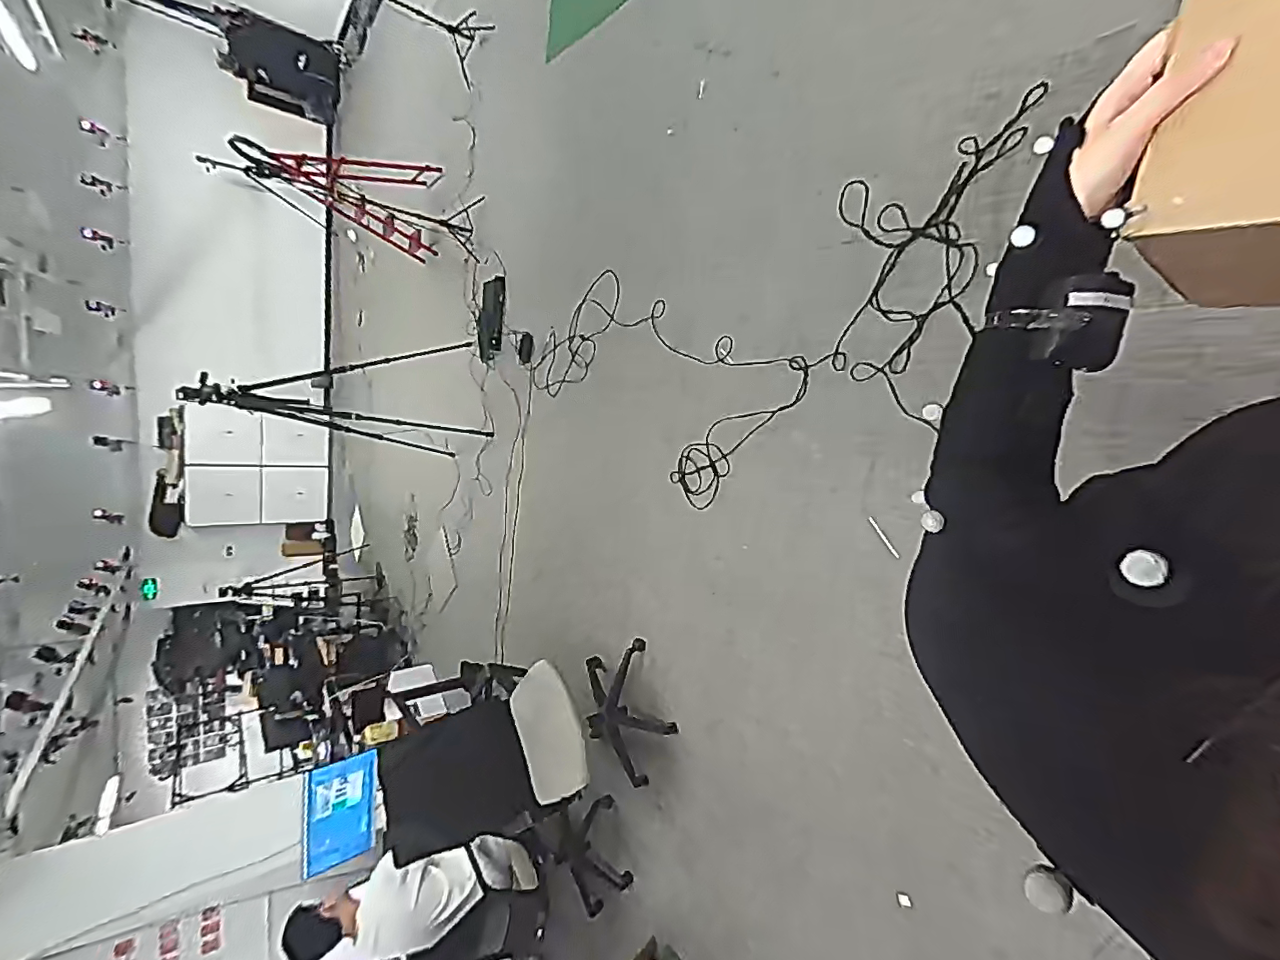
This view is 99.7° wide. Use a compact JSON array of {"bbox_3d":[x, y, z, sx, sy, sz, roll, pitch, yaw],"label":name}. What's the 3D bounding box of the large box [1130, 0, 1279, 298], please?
[{"bbox_3d":[0.606,-0.290,0.297,0.408,0.320,0.320,20,107,52],"label":"large box"}]
